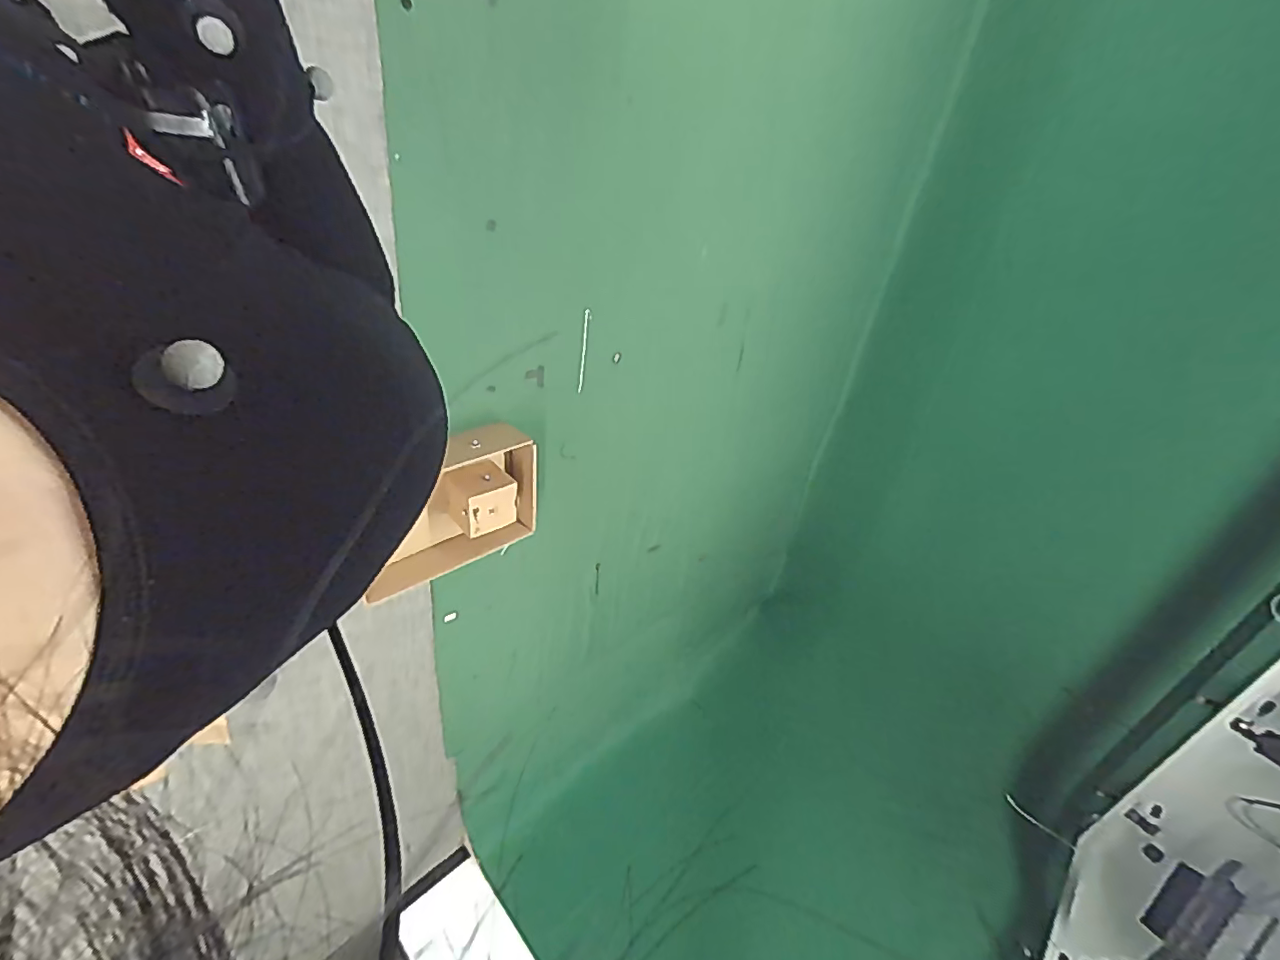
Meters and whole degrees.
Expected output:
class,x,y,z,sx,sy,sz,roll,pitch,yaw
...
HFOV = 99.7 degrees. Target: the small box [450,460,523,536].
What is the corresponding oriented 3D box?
class,x,y,z,sx,sy,sz,roll,pitch,yaw
small box,-0.514,0.053,1.809,0.179,0.176,0.168,-22,134,-38
